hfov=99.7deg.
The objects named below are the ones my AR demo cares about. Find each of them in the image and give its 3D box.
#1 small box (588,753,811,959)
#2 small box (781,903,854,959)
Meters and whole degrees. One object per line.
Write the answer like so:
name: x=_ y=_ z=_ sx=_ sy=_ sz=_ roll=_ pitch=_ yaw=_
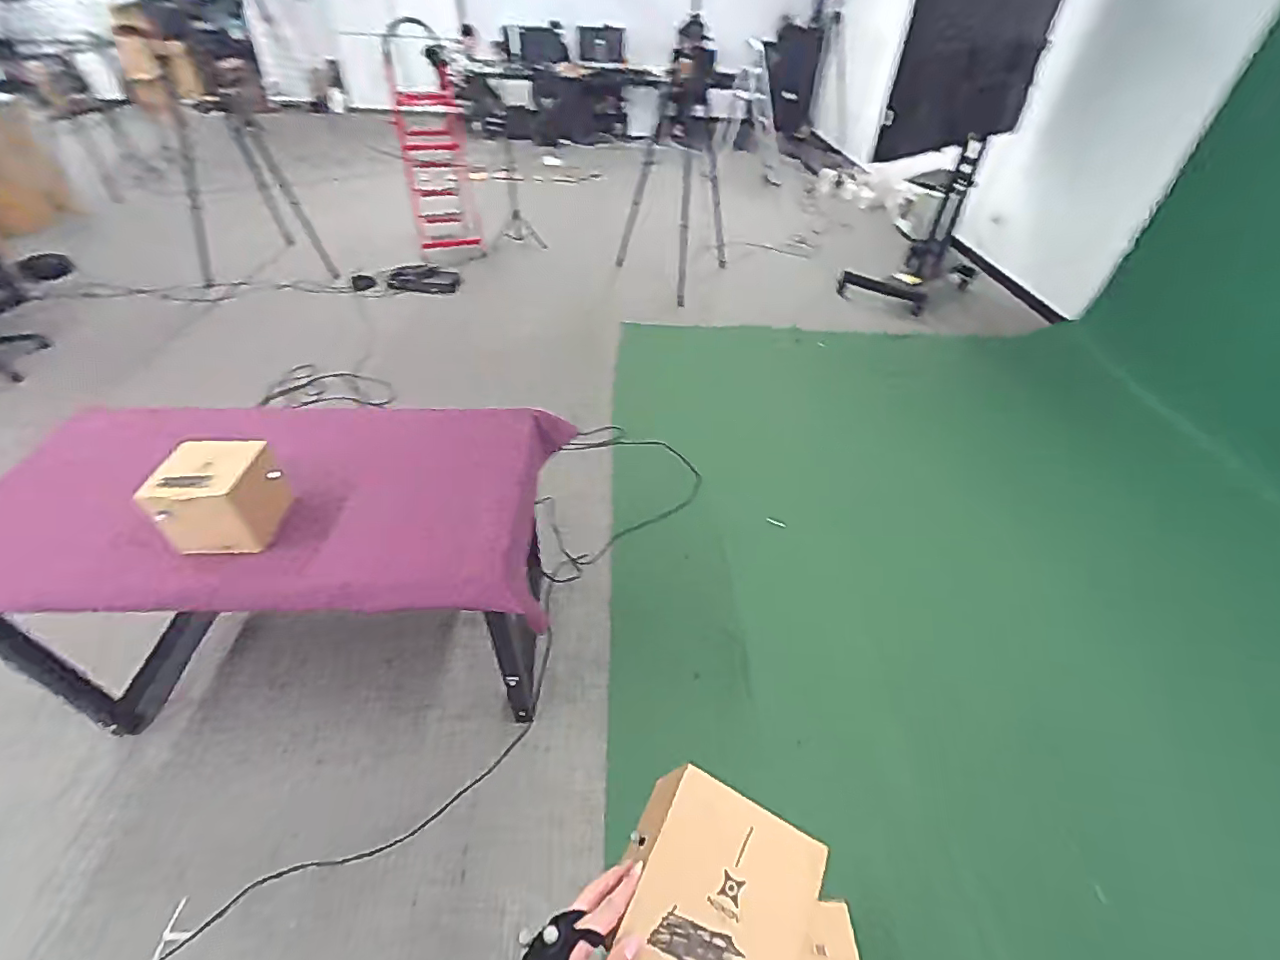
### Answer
small box: x=0.055 y=0.434 z=0.584 sx=0.168 sy=0.176 sz=0.179 roll=28 pitch=54 yaw=7
small box: x=0.356 y=1.048 z=1.185 sx=0.179 sy=0.176 sz=0.168 roll=2 pitch=42 yaw=-2
